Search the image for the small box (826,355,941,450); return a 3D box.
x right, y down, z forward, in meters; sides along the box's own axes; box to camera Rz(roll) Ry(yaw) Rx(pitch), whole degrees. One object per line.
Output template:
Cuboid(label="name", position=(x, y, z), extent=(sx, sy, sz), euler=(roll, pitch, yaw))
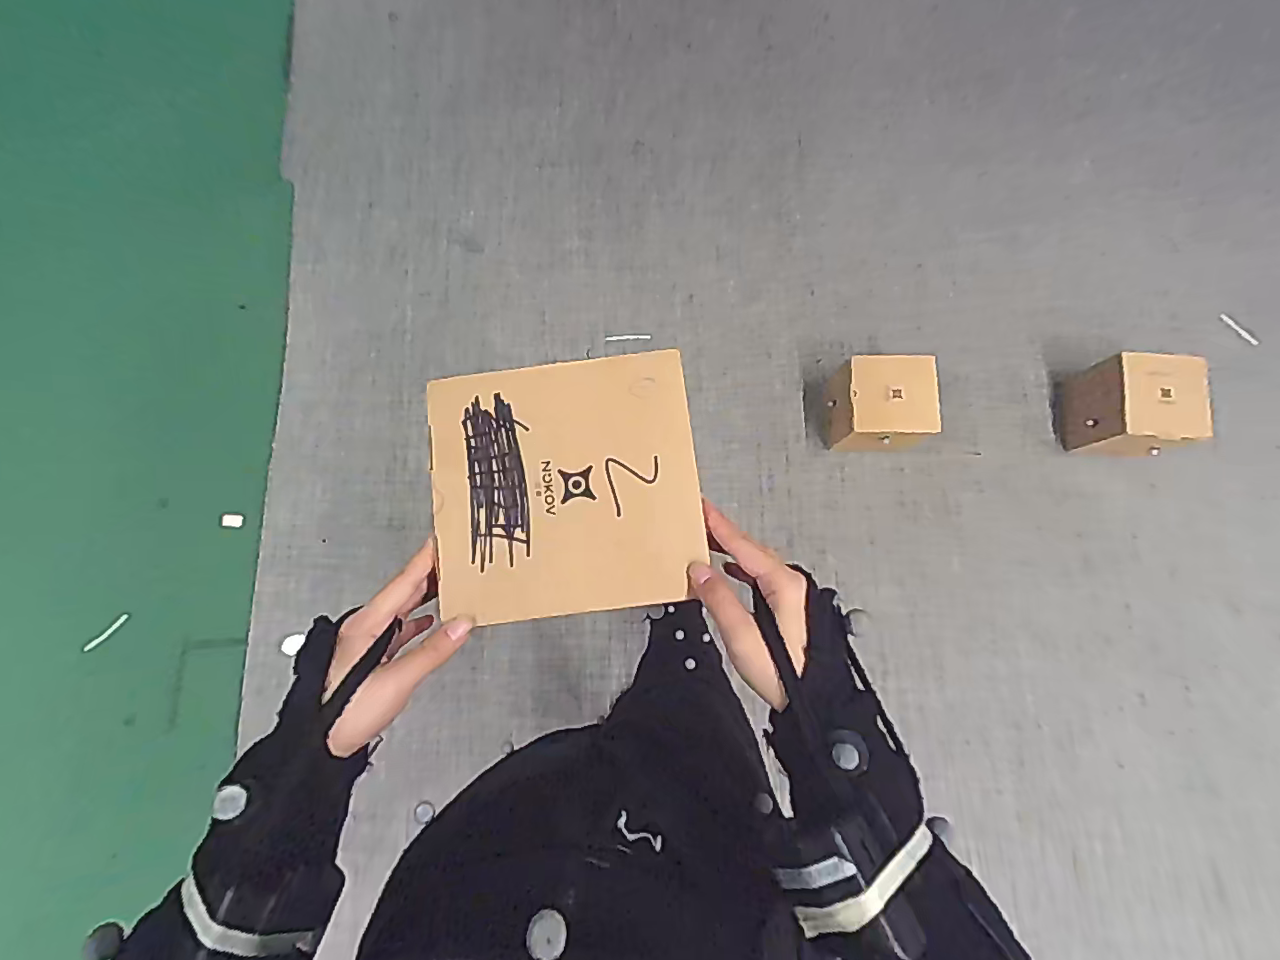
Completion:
Cuboid(label="small box", position=(0.518, -0.162, 1.171), extent=(0.179, 0.176, 0.168), euler=(0, 80, 3))

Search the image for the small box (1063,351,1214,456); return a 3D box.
Cuboid(label="small box", position=(1.041, -0.154, 1.145), extent=(0.168, 0.176, 0.179), euler=(4, 80, 2))
